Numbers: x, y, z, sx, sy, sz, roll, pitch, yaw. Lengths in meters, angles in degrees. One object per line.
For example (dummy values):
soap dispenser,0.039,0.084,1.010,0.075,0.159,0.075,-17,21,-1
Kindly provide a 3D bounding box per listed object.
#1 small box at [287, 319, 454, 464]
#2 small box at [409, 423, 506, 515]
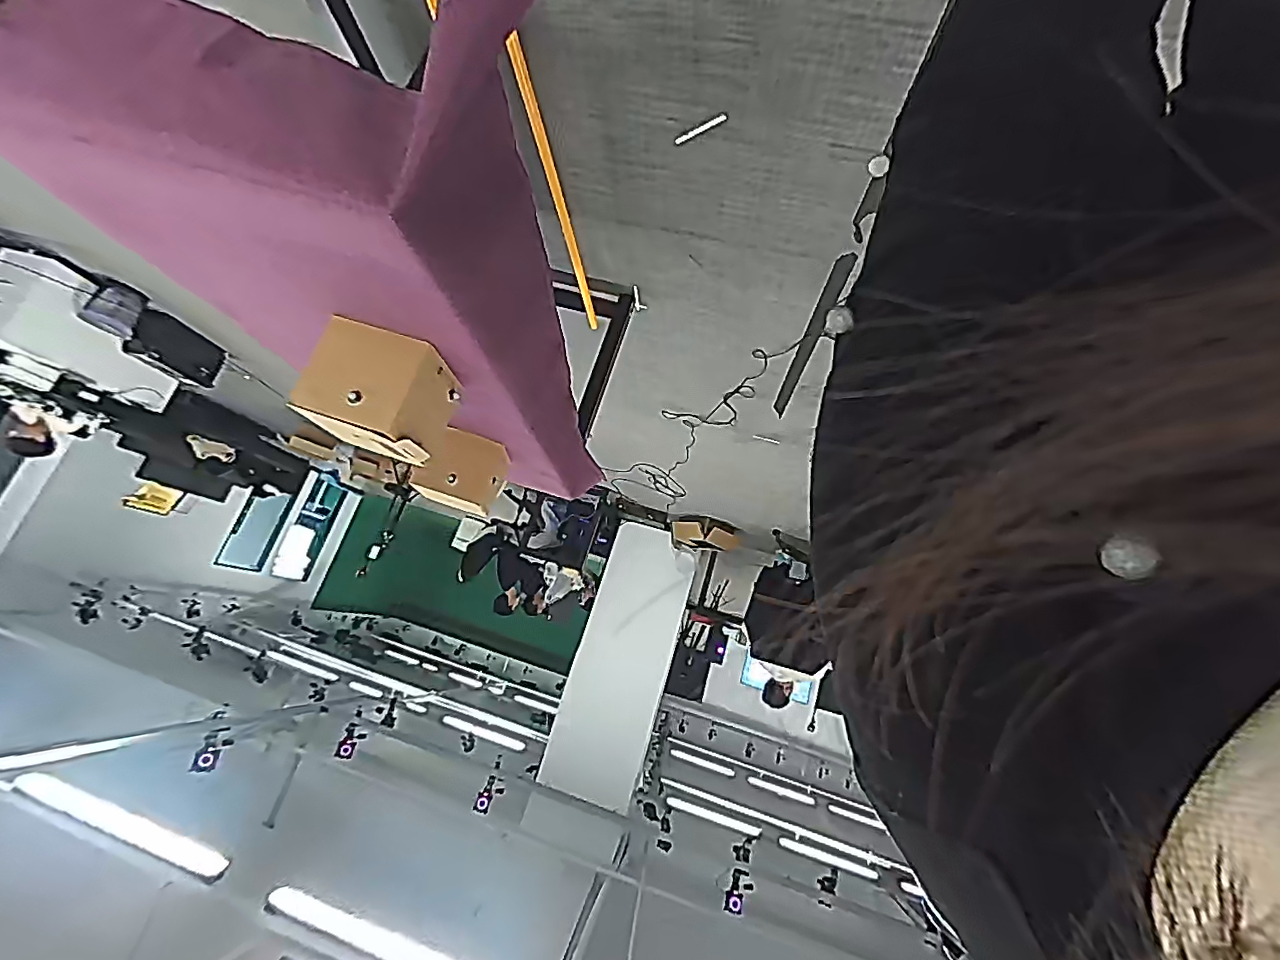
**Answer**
small box,-0.439,-0.149,0.921,0.179,0.176,0.168,18,165,5
small box,-0.450,-0.028,1.369,0.179,0.176,0.168,19,164,-3
